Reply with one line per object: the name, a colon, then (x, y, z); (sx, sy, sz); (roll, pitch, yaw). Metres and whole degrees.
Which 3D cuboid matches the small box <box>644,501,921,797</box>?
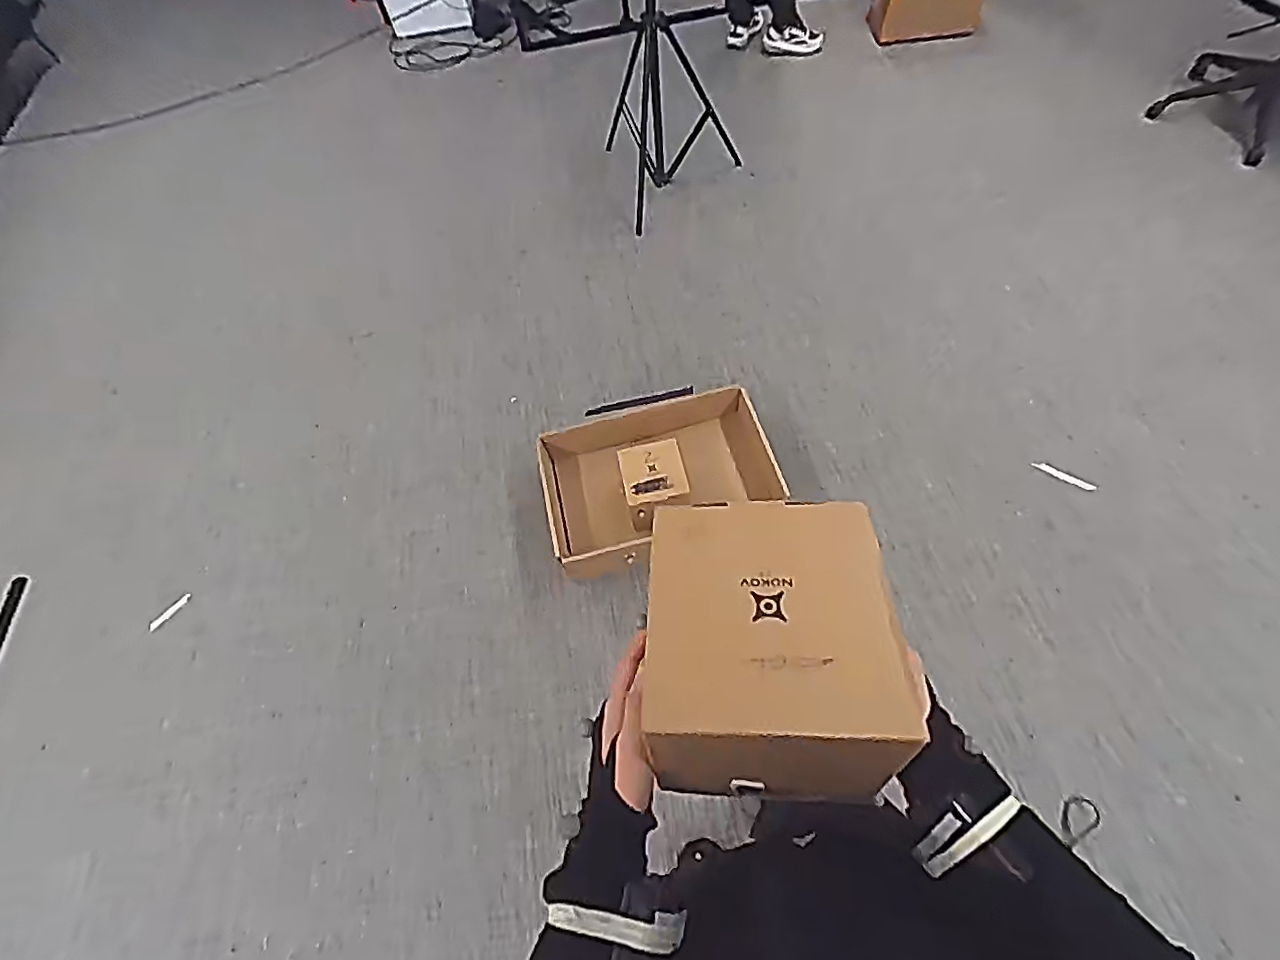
small box: (0.095, 0.136, 0.435); (0.168, 0.176, 0.179); (-2, 49, 7)
